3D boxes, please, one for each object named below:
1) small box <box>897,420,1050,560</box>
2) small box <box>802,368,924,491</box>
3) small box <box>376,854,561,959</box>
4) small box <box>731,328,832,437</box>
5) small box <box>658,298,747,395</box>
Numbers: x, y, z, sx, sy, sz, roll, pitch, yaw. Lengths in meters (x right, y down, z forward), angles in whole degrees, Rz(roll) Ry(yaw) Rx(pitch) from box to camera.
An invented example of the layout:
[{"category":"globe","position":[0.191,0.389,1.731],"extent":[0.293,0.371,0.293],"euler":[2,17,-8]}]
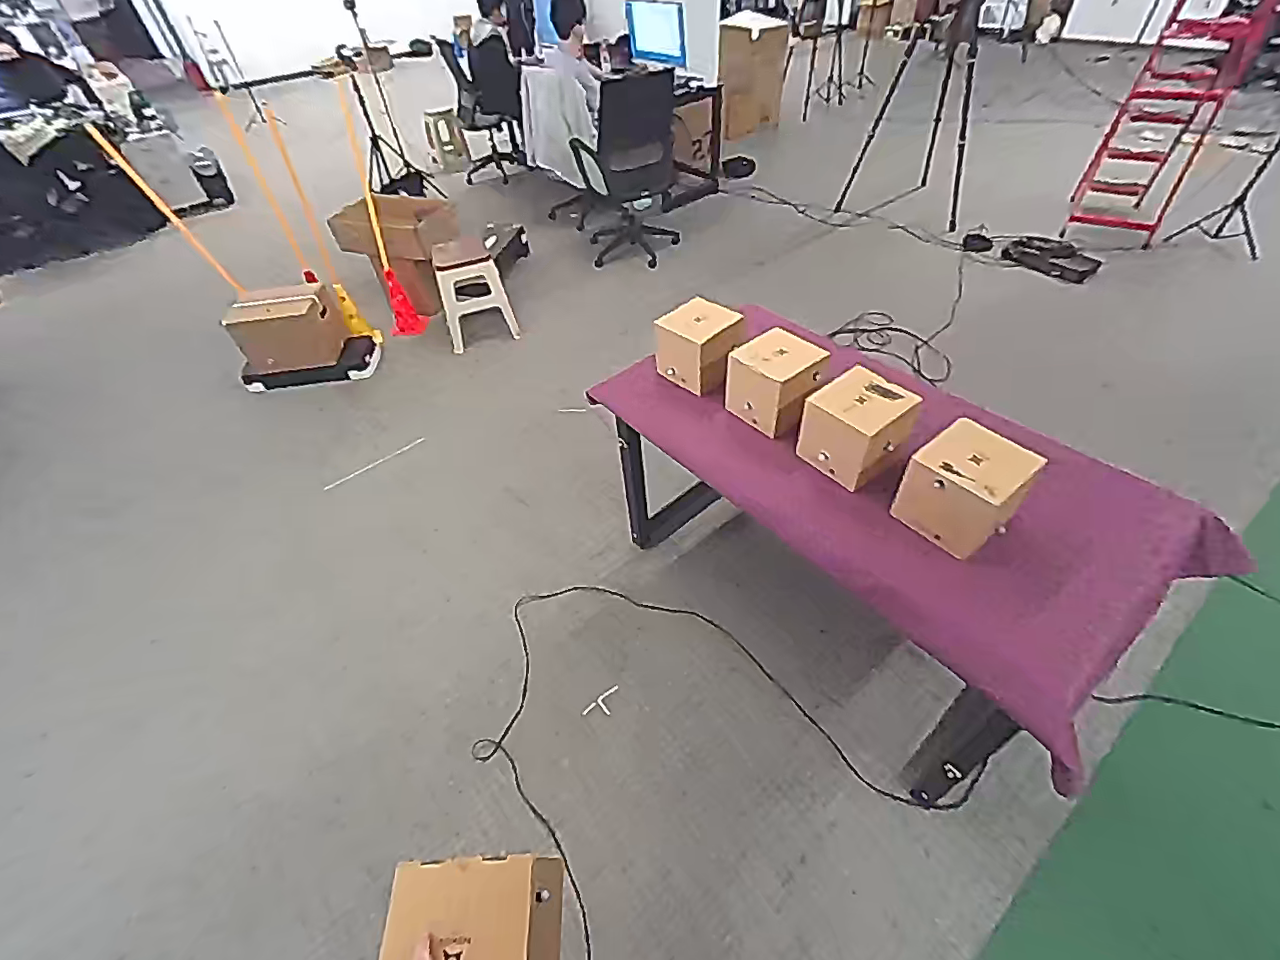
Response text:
[{"category":"small box","position":[0.633,0.020,1.050],"extent":[0.179,0.176,0.168],"euler":[-31,50,-22]},{"category":"small box","position":[0.479,-0.110,1.190],"extent":[0.179,0.176,0.168],"euler":[-31,51,-21]},{"category":"small box","position":[-0.194,0.557,0.642],"extent":[0.168,0.176,0.179],"euler":[-6,53,3]},{"category":"small box","position":[0.337,-0.238,1.326],"extent":[0.179,0.176,0.168],"euler":[-32,51,-22]},{"category":"small box","position":[0.165,-0.360,1.460],"extent":[0.179,0.176,0.168],"euler":[-37,53,-25]}]
